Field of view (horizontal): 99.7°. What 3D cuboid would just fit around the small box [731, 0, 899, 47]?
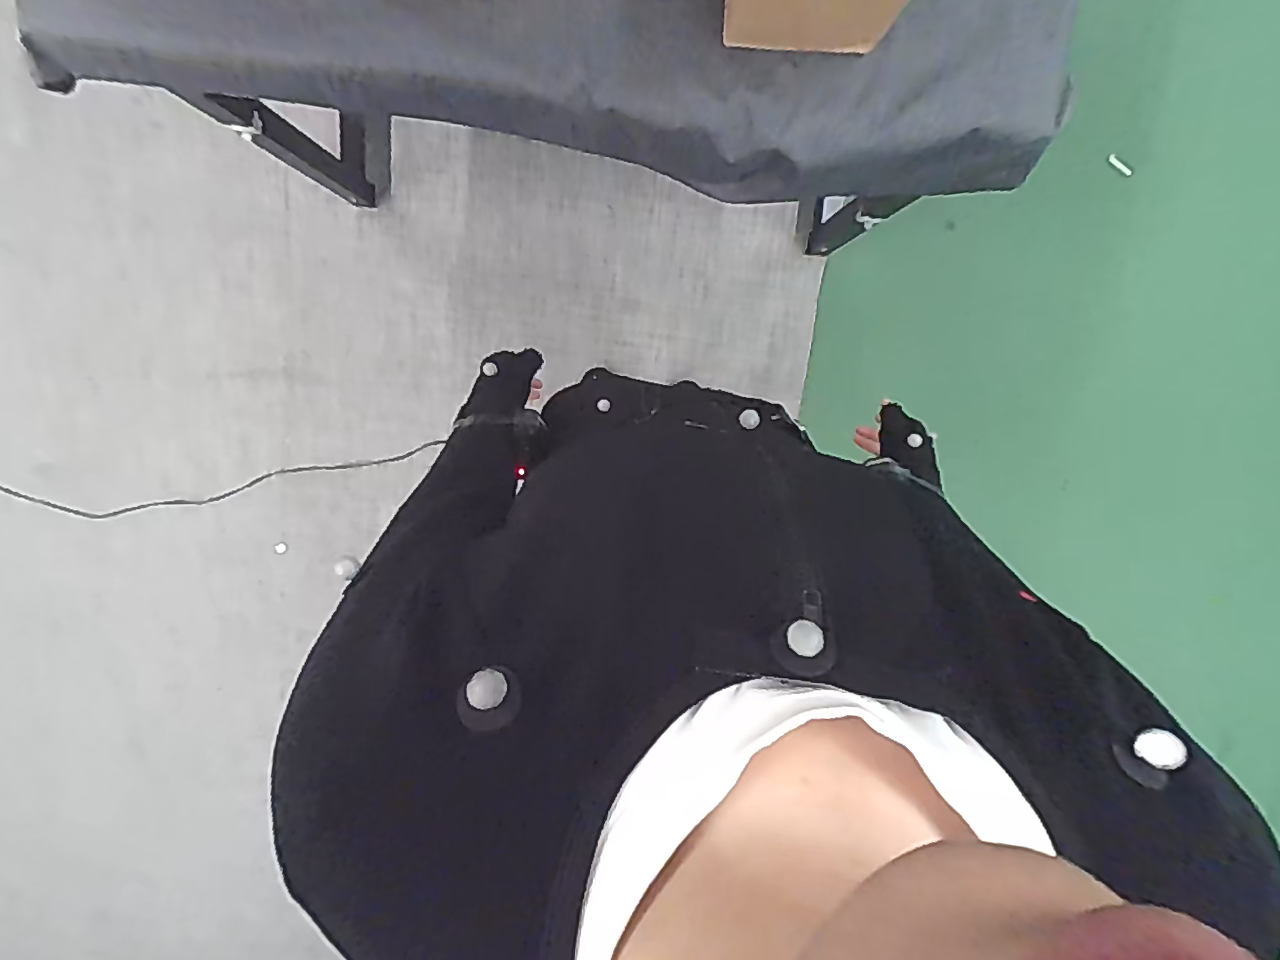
[{"bbox_3d":[0.194,-0.578,0.546,0.179,0.176,0.168,2,102,-3],"label":"small box"}]
